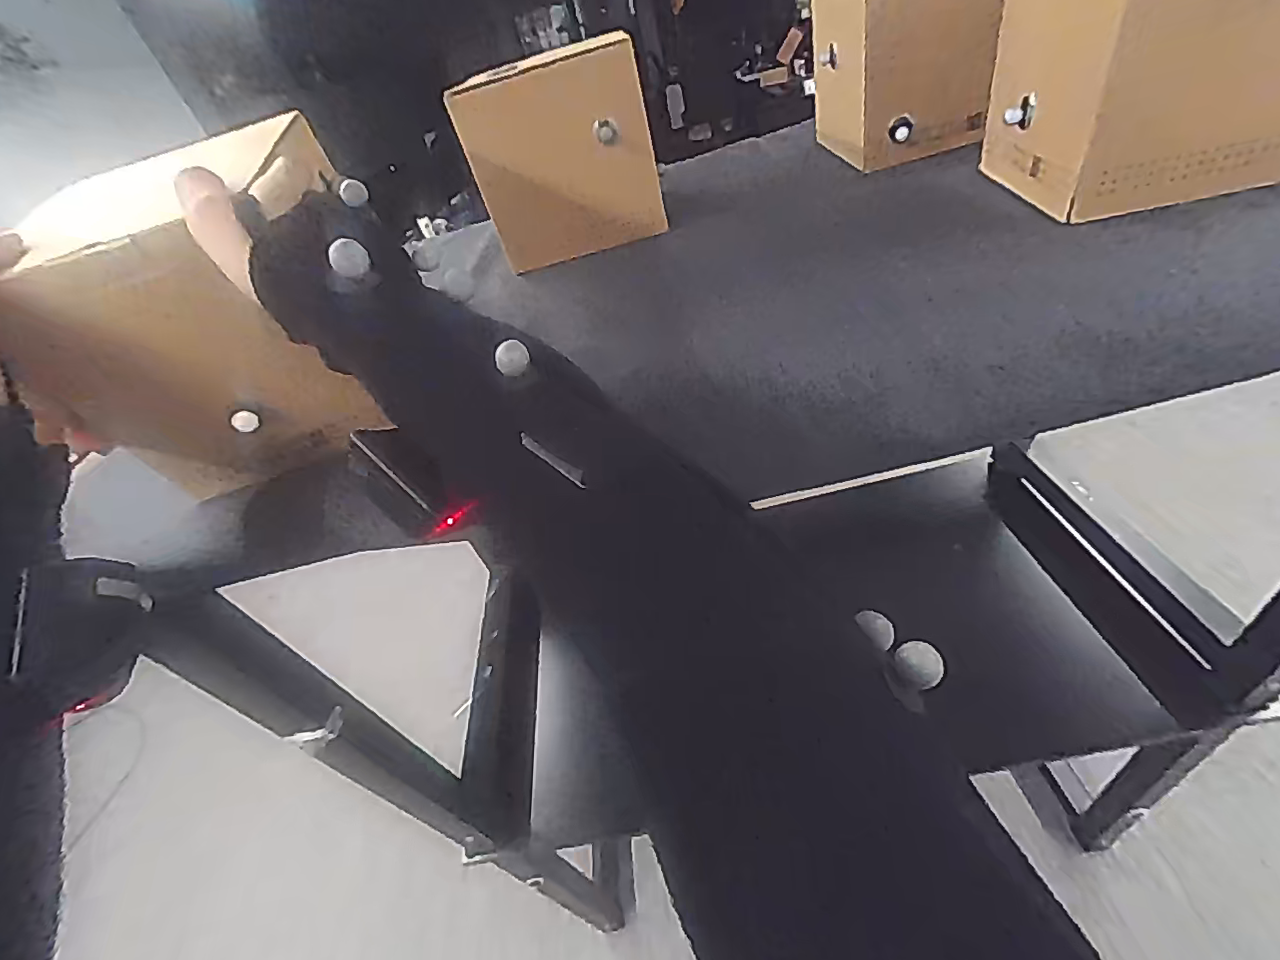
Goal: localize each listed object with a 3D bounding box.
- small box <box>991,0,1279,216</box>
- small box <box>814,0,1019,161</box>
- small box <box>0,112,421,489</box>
[{"bbox_3d":[0.360,-0.296,0.347,0.179,0.176,0.168,-8,40,15],"label":"small box"},{"bbox_3d":[0.284,-0.445,0.545,0.168,0.176,0.179,-12,40,8],"label":"small box"},{"bbox_3d":[-0.275,-0.124,0.387,0.168,0.176,0.179,-19,49,0],"label":"small box"}]
